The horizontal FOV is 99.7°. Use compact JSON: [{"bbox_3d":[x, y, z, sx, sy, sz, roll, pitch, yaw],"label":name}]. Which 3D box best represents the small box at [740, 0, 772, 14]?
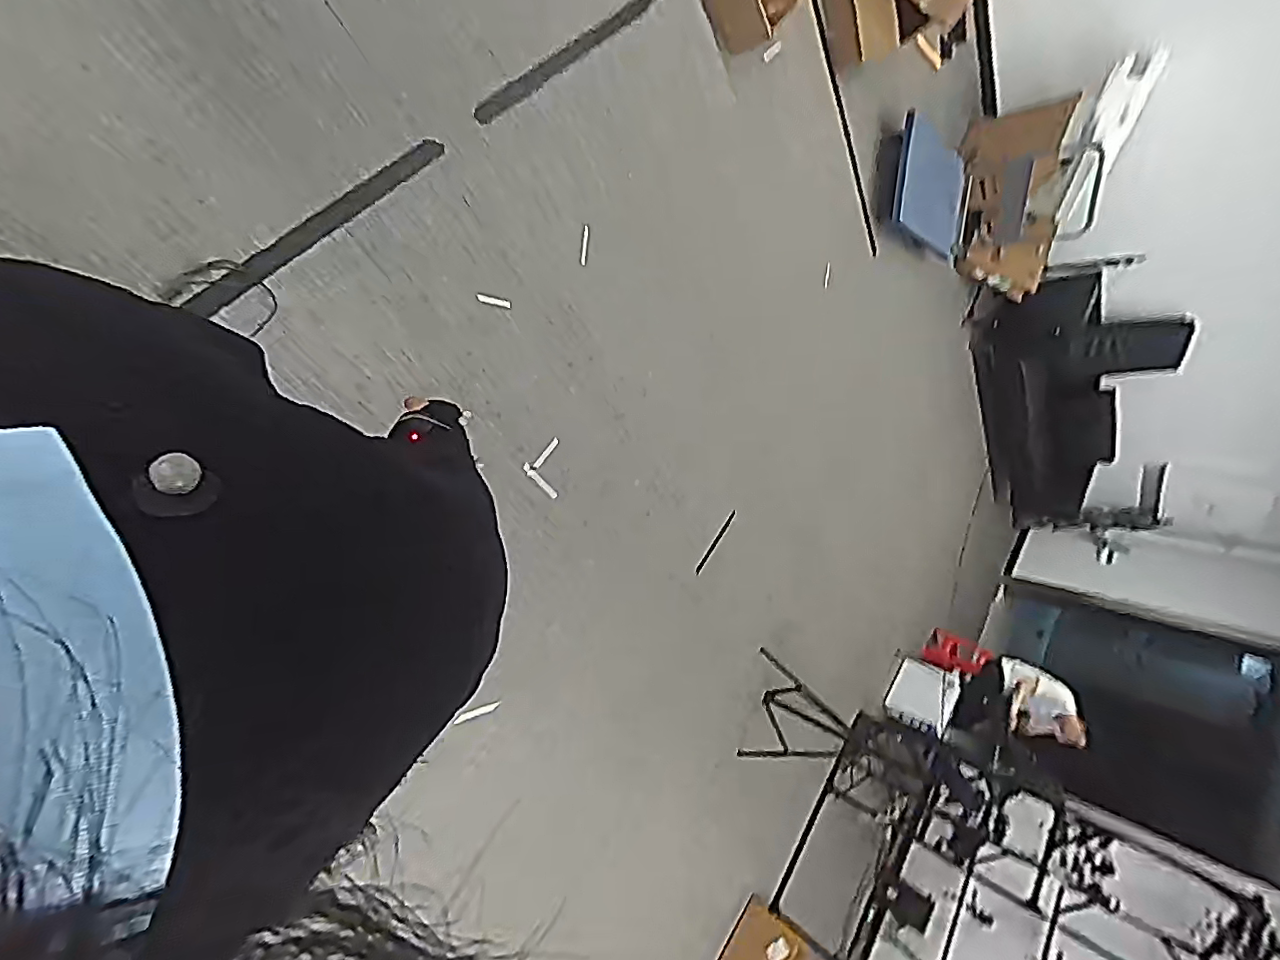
[{"bbox_3d":[0.458,-1.869,1.981,0.179,0.176,0.168,-56,131,-20],"label":"small box"}]
